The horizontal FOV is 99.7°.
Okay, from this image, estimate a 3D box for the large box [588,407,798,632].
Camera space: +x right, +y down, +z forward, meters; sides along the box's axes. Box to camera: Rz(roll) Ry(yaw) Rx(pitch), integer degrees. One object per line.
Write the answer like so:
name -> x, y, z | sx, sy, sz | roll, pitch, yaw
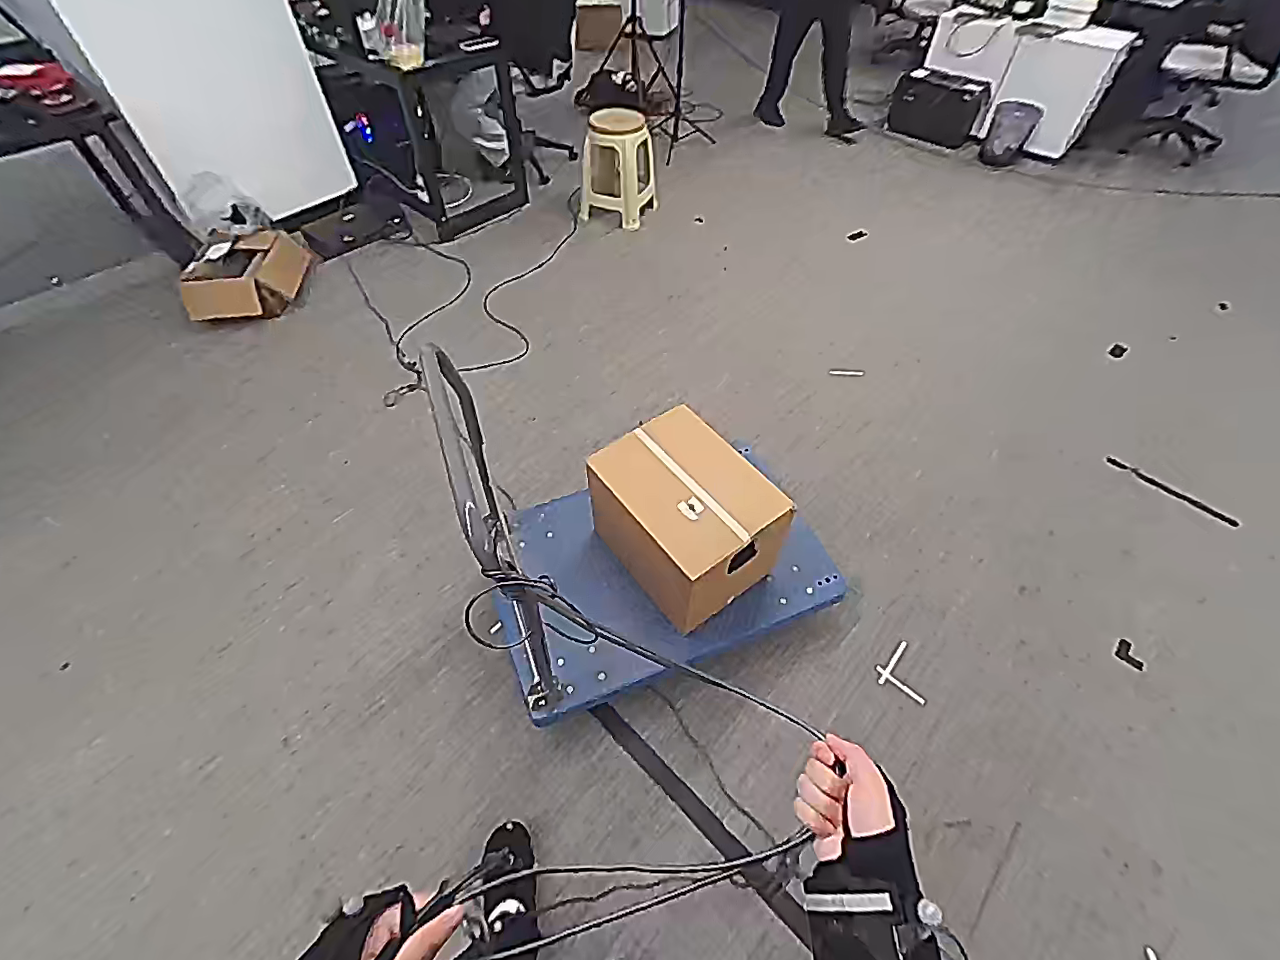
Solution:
large box -> 0.112, 0.096, 1.362 | 0.320, 0.320, 0.408 | -32, 60, -20
